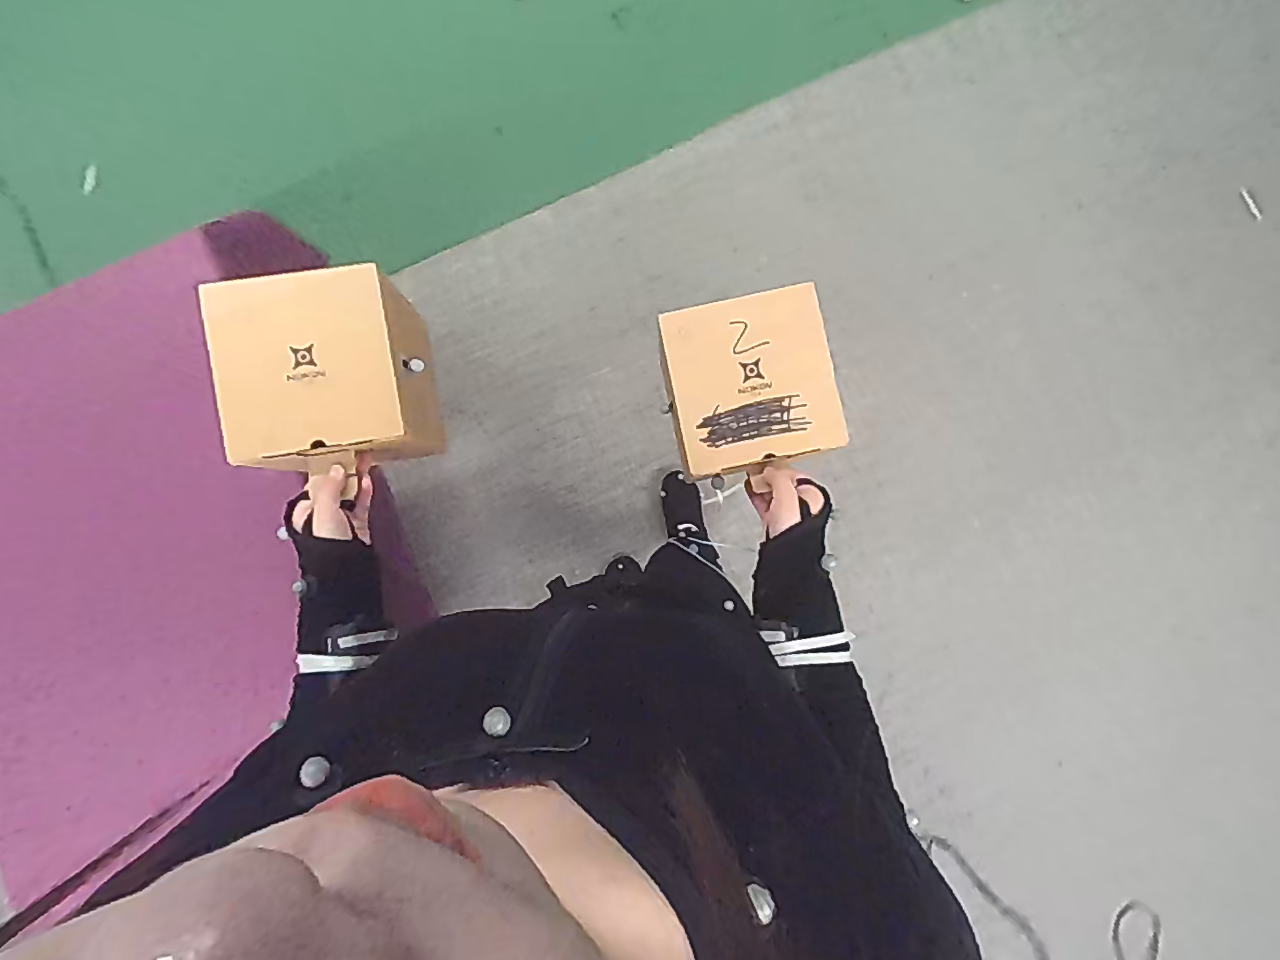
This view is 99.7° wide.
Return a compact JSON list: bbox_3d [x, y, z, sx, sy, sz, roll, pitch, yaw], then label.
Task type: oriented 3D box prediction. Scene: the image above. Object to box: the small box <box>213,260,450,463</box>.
[{"bbox_3d":[-0.320,-0.117,0.596,0.168,0.176,0.179,-8,91,-6],"label":"small box"}]
